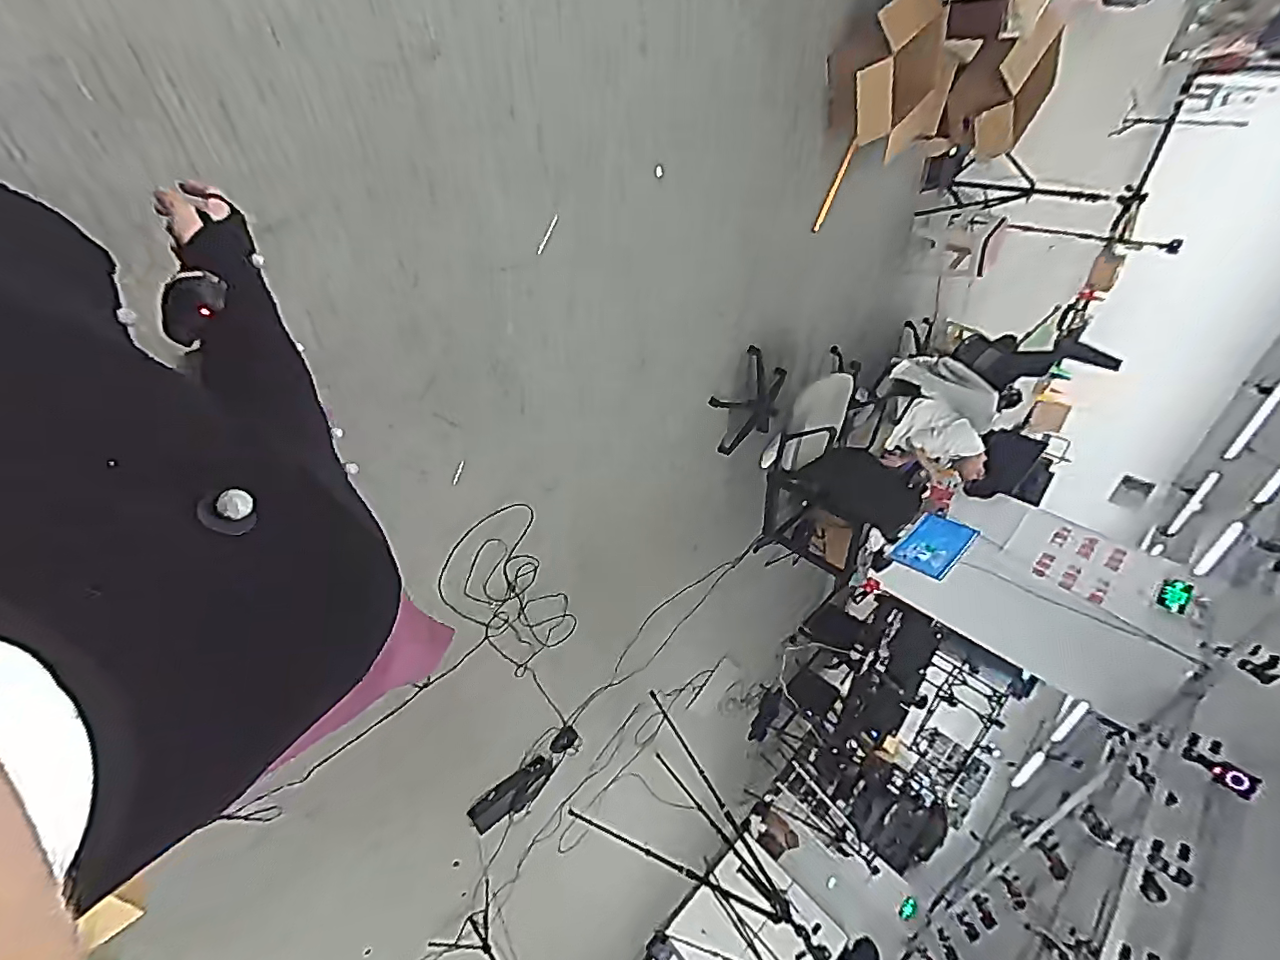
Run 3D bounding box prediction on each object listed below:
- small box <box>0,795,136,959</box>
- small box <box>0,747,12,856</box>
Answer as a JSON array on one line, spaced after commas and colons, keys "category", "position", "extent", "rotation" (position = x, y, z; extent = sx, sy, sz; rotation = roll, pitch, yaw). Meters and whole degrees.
[{"category": "small box", "position": [-0.893, 0.610, 0.793], "extent": [0.168, 0.176, 0.179], "rotation": [-30, 135, -32]}, {"category": "small box", "position": [-0.897, 0.391, 0.627], "extent": [0.168, 0.176, 0.179], "rotation": [-32, 137, -32]}]
